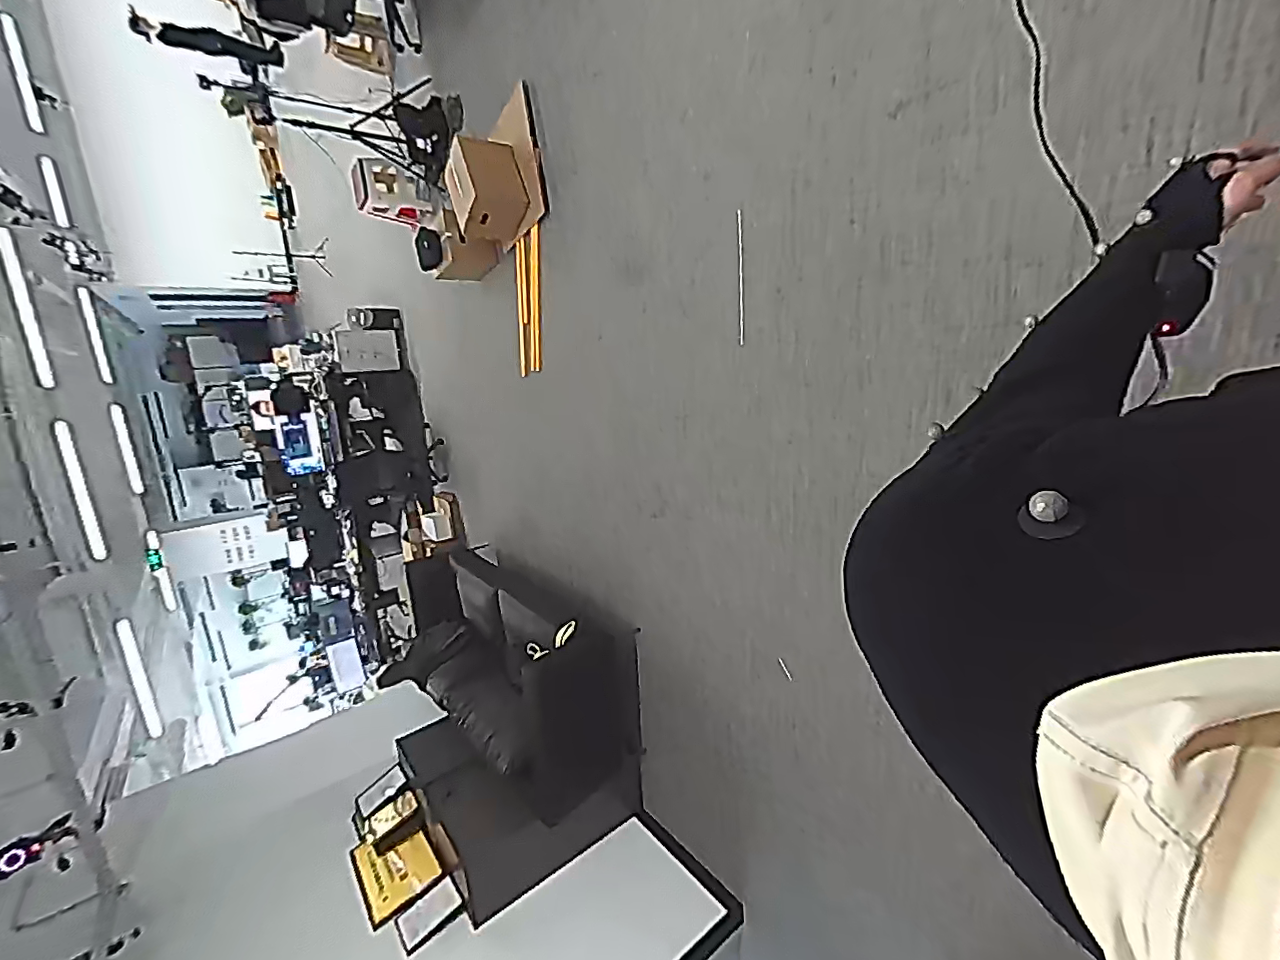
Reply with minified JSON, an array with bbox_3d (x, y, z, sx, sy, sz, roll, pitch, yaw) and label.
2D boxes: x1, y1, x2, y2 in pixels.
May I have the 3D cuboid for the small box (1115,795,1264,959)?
[{"bbox_3d":[1.079,0.773,1.064,0.168,0.176,0.179,21,118,46],"label":"small box"}]

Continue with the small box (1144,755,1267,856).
[{"bbox_3d":[1.205,0.743,1.164,0.168,0.176,0.179,18,115,47],"label":"small box"}]
